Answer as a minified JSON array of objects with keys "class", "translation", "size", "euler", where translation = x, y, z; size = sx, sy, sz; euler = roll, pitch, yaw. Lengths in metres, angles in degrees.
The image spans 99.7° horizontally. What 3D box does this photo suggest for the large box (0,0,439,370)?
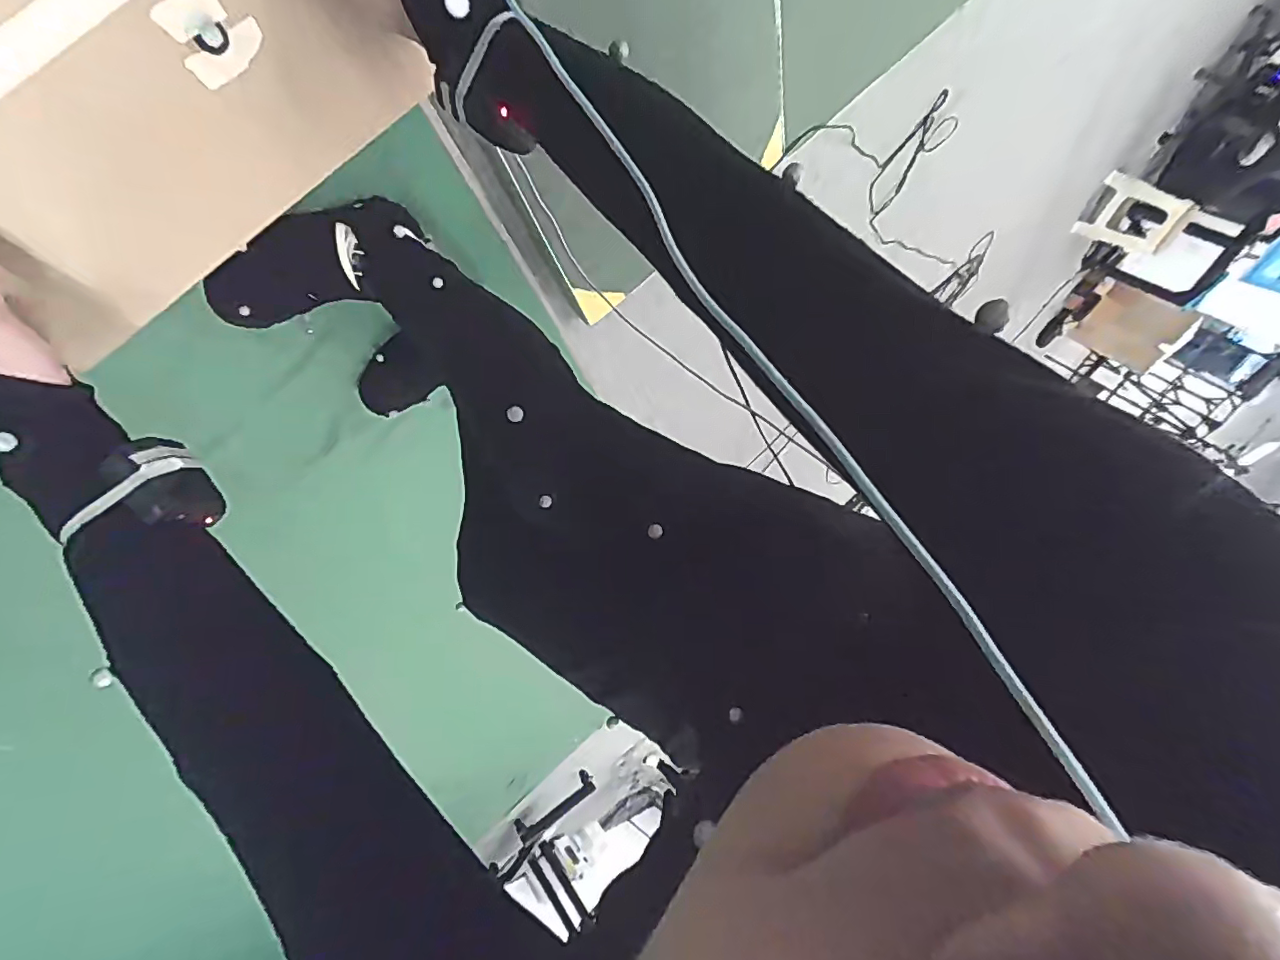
[{"class":"large box","translation":[-0.462,-0.378,0.426],"size":[0.408,0.320,0.320],"euler":[-44,150,-5]}]
